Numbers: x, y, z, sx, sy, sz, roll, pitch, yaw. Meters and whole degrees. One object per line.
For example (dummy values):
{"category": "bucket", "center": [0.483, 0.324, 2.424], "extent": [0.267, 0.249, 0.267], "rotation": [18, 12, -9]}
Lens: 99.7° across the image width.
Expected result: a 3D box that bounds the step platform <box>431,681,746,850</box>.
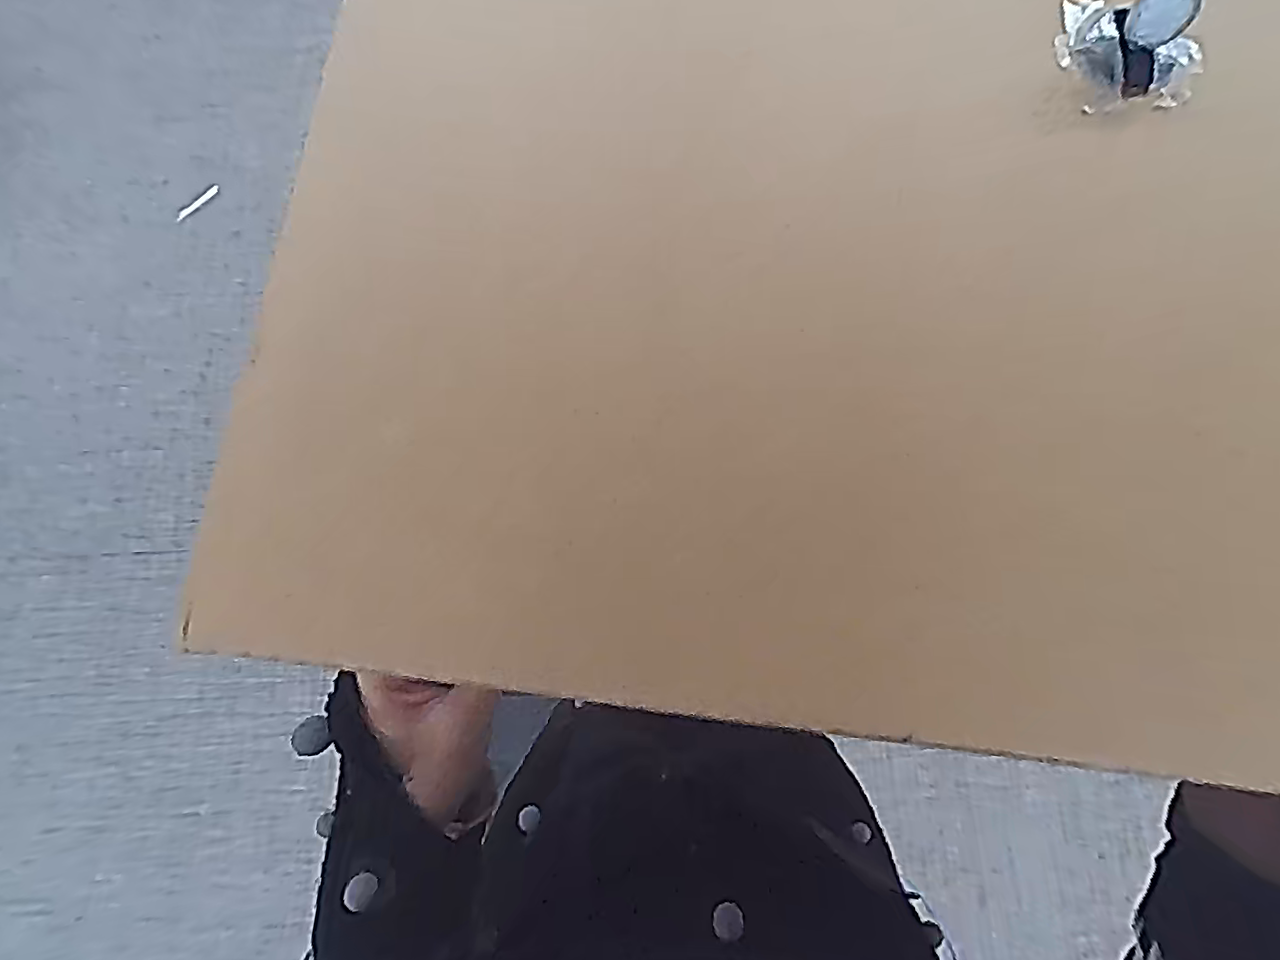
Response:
{"category": "step platform", "center": [-0.108, 0.624, 1.222], "extent": [0.684, 0.204, 0.286], "rotation": [3, 77, 3]}
